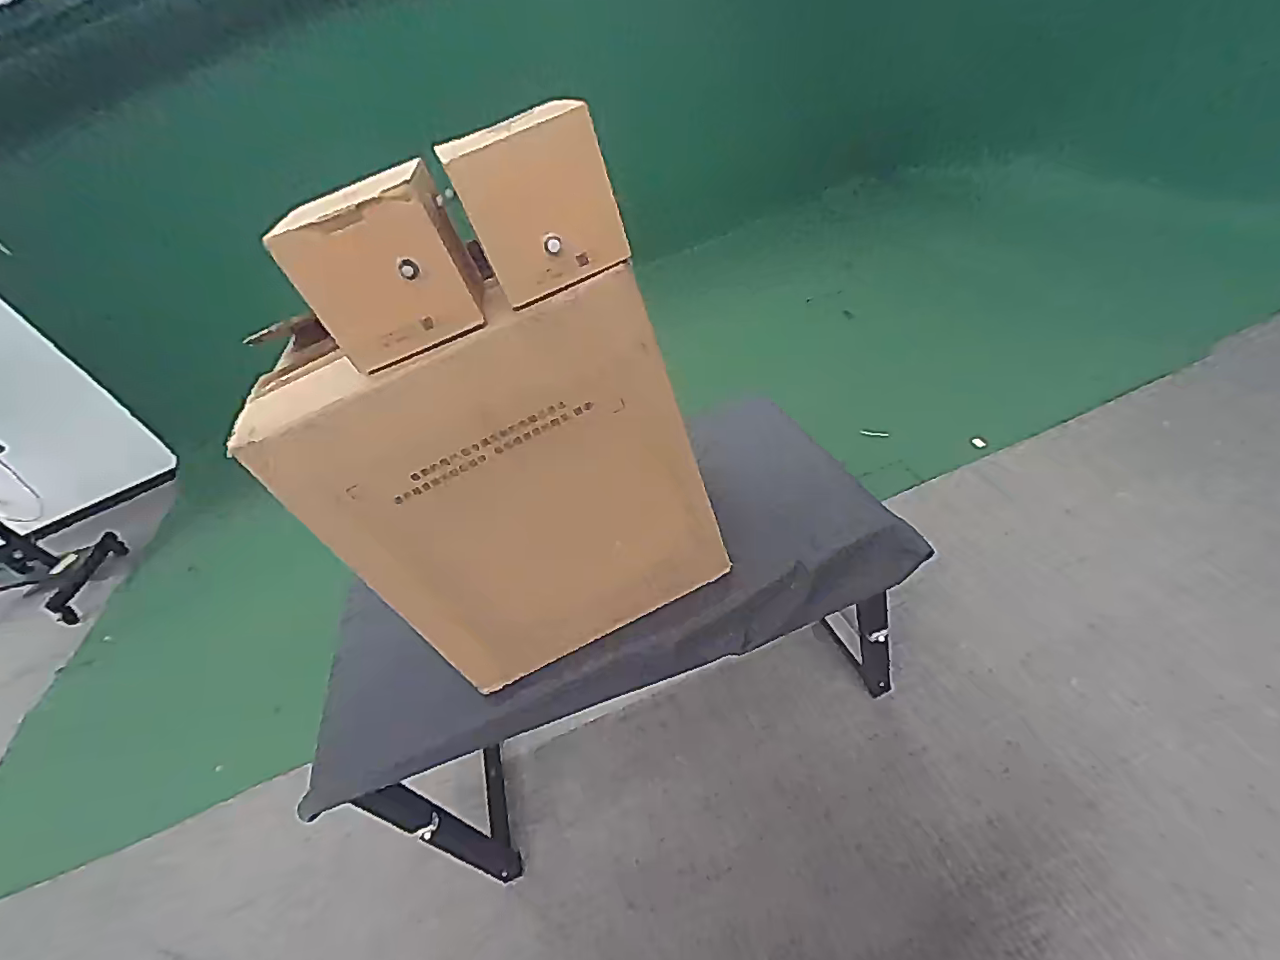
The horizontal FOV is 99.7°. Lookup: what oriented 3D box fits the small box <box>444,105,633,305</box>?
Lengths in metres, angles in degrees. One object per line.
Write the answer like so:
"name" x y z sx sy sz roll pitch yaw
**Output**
"small box" -0.127 -0.344 0.680 0.168 0.176 0.179 -26 41 -4
